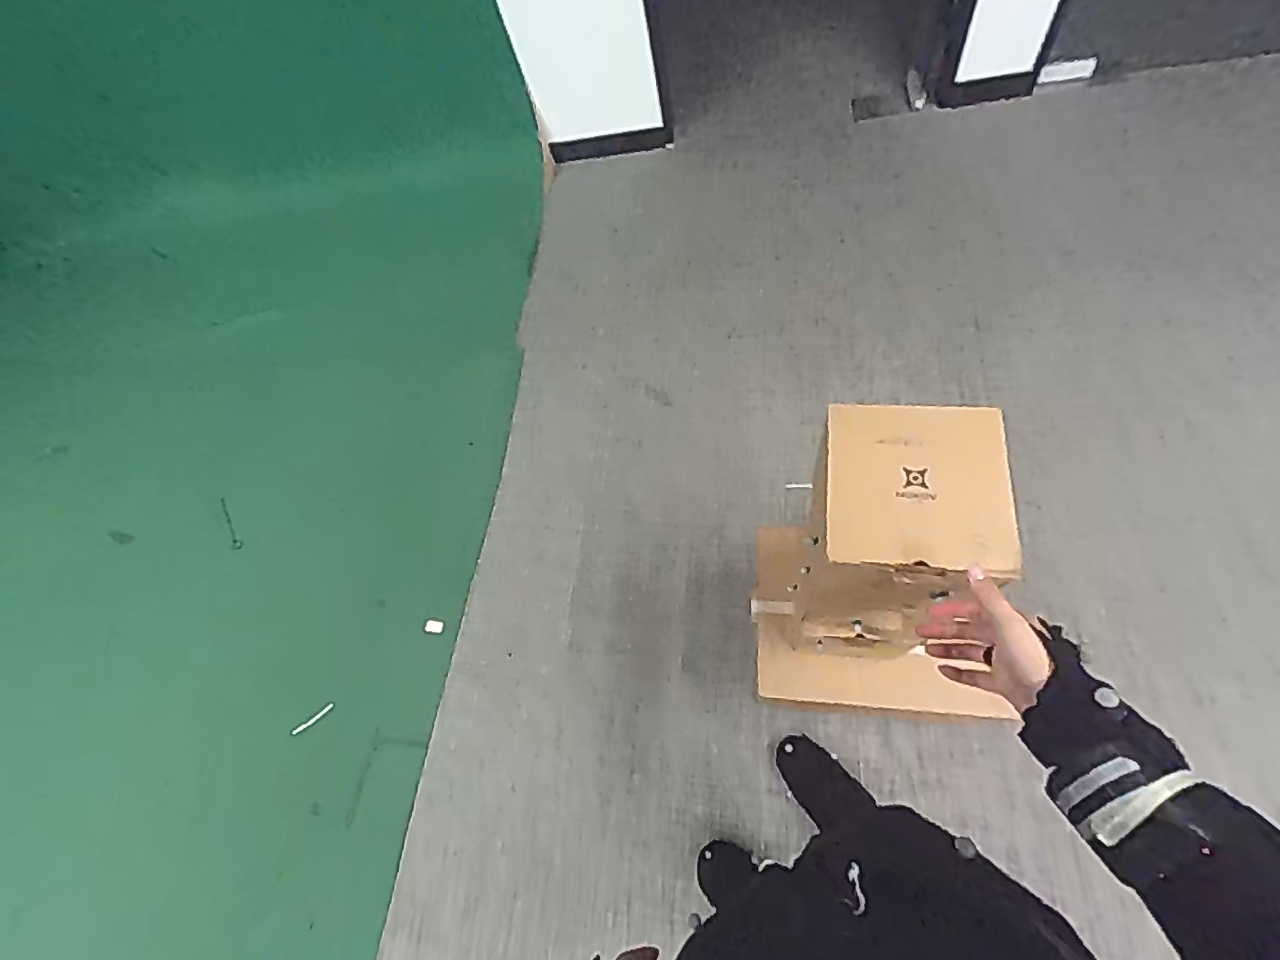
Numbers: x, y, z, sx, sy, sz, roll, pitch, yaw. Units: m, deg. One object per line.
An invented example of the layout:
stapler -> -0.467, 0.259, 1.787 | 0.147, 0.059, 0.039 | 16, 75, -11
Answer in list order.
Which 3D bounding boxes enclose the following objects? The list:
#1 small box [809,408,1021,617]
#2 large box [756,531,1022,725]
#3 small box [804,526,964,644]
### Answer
small box -> 0.279, 0.042, 0.588 | 0.168, 0.176, 0.179 | 4, 64, 13
large box -> 0.439, 0.299, 1.072 | 0.408, 0.320, 0.320 | 0, 66, 12
small box -> 0.317, 0.109, 0.731 | 0.168, 0.176, 0.179 | 5, 66, 15
